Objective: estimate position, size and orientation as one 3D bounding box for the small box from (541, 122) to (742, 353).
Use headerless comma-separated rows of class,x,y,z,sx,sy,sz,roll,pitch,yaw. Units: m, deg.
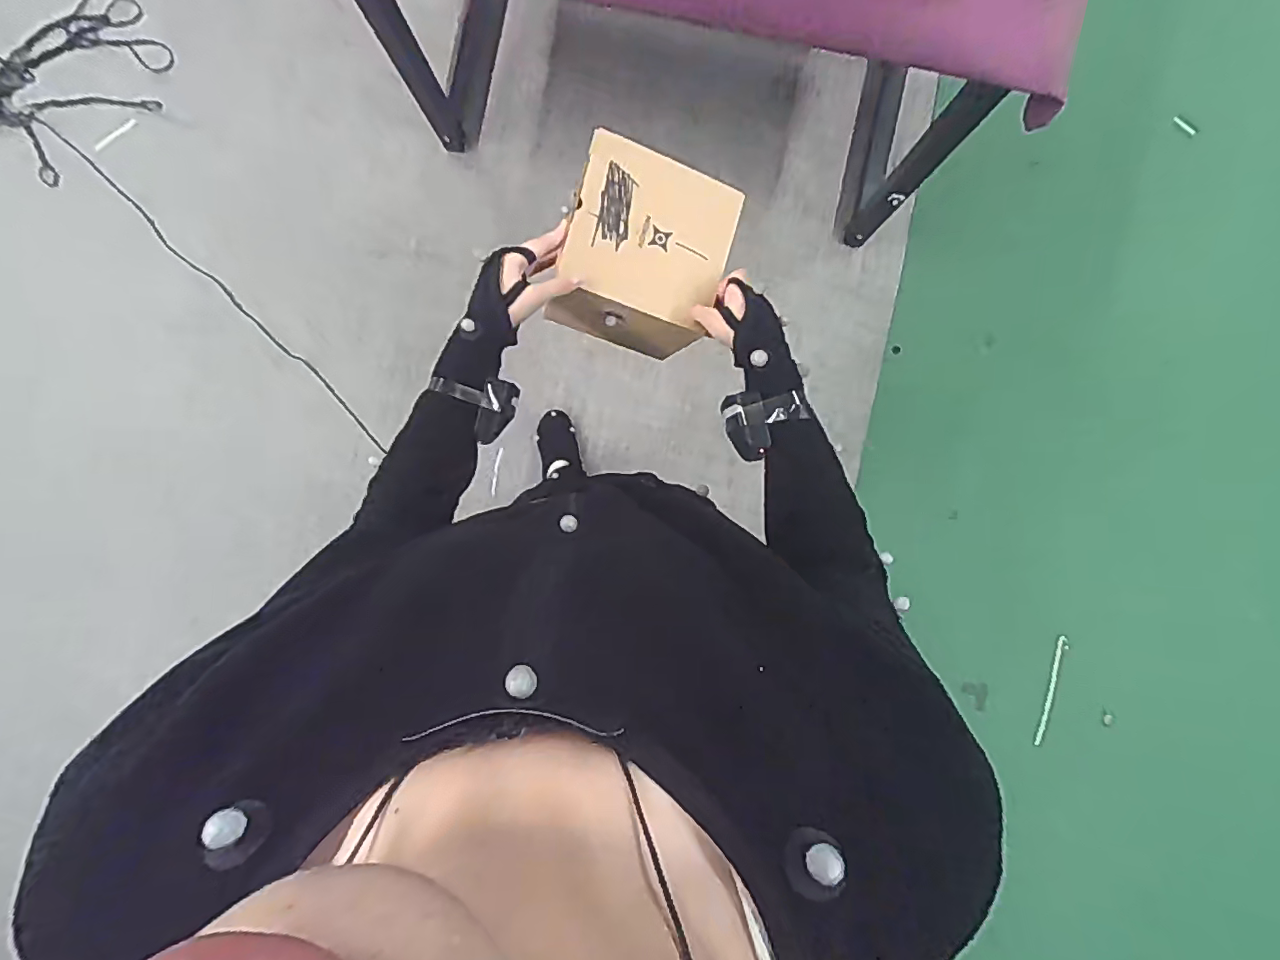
small box,-0.011,-0.265,0.640,0.179,0.176,0.168,17,88,-14
